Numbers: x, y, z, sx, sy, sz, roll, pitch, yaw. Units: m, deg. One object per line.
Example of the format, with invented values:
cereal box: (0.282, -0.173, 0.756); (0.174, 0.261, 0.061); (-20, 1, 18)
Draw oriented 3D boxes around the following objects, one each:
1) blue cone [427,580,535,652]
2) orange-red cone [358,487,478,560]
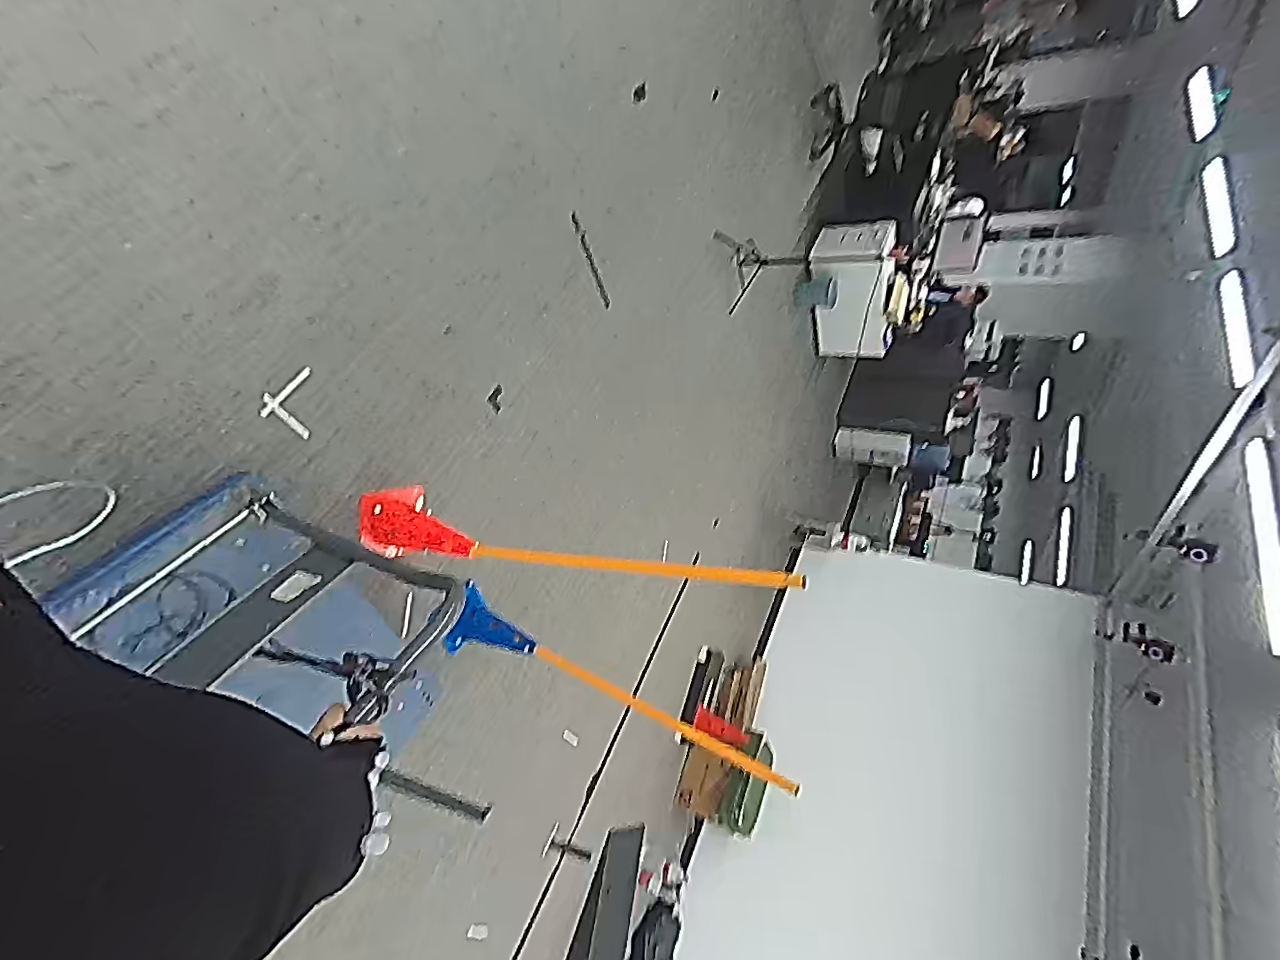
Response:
blue cone: (-0.486, 0.486, 1.752); (0.193, 0.380, 0.192); (-48, 137, -41)
orange-red cone: (-0.575, 0.152, 1.473); (0.198, 0.360, 0.199); (-9, 108, -57)
